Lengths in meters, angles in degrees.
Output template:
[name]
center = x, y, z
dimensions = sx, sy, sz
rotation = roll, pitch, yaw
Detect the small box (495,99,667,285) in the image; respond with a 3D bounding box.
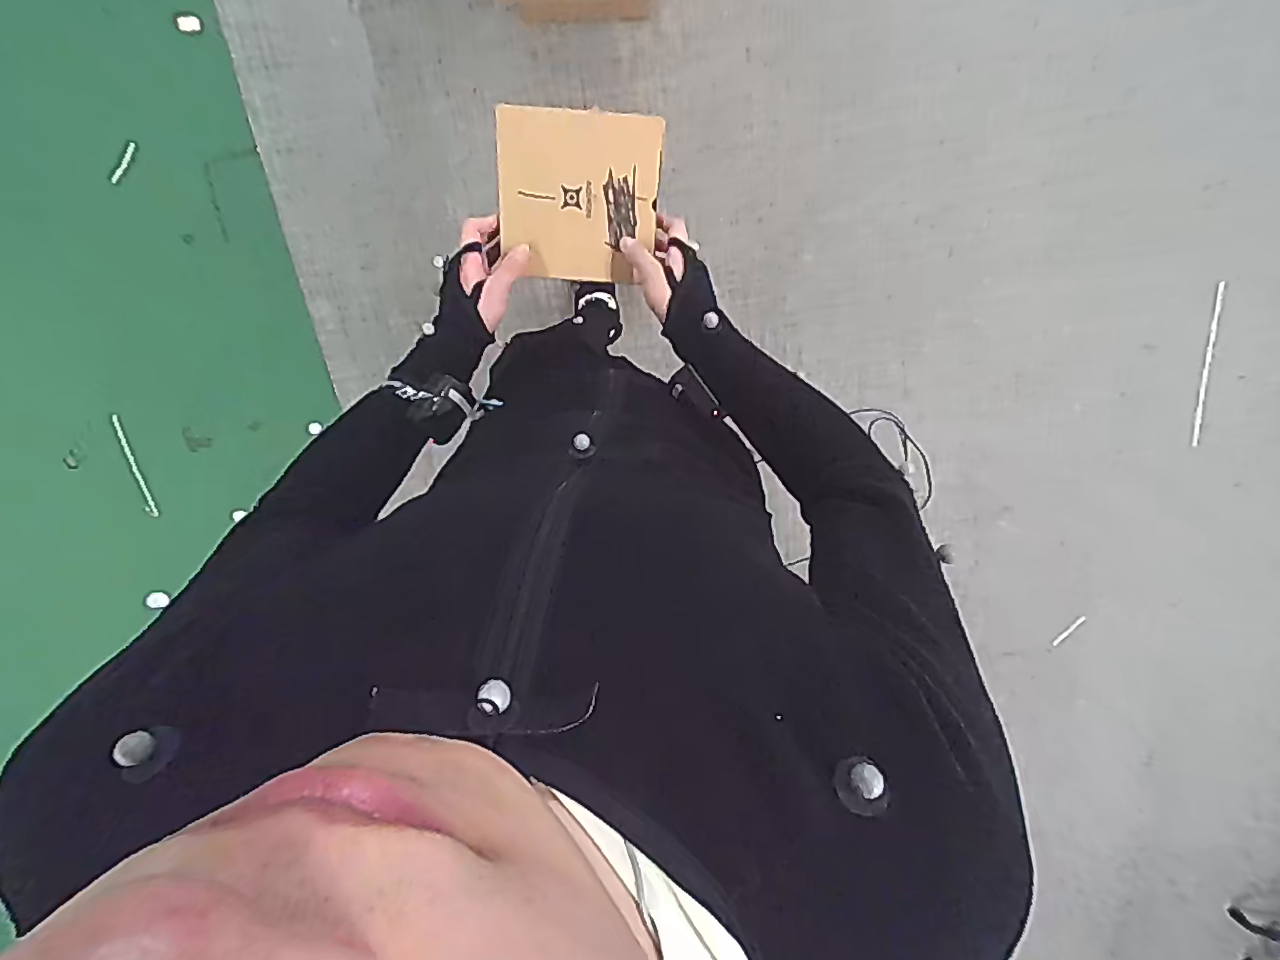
[small box]
center = -0.068, -0.331, 0.648
dimensions = 0.179, 0.176, 0.168
rotation = 3, 112, -3
